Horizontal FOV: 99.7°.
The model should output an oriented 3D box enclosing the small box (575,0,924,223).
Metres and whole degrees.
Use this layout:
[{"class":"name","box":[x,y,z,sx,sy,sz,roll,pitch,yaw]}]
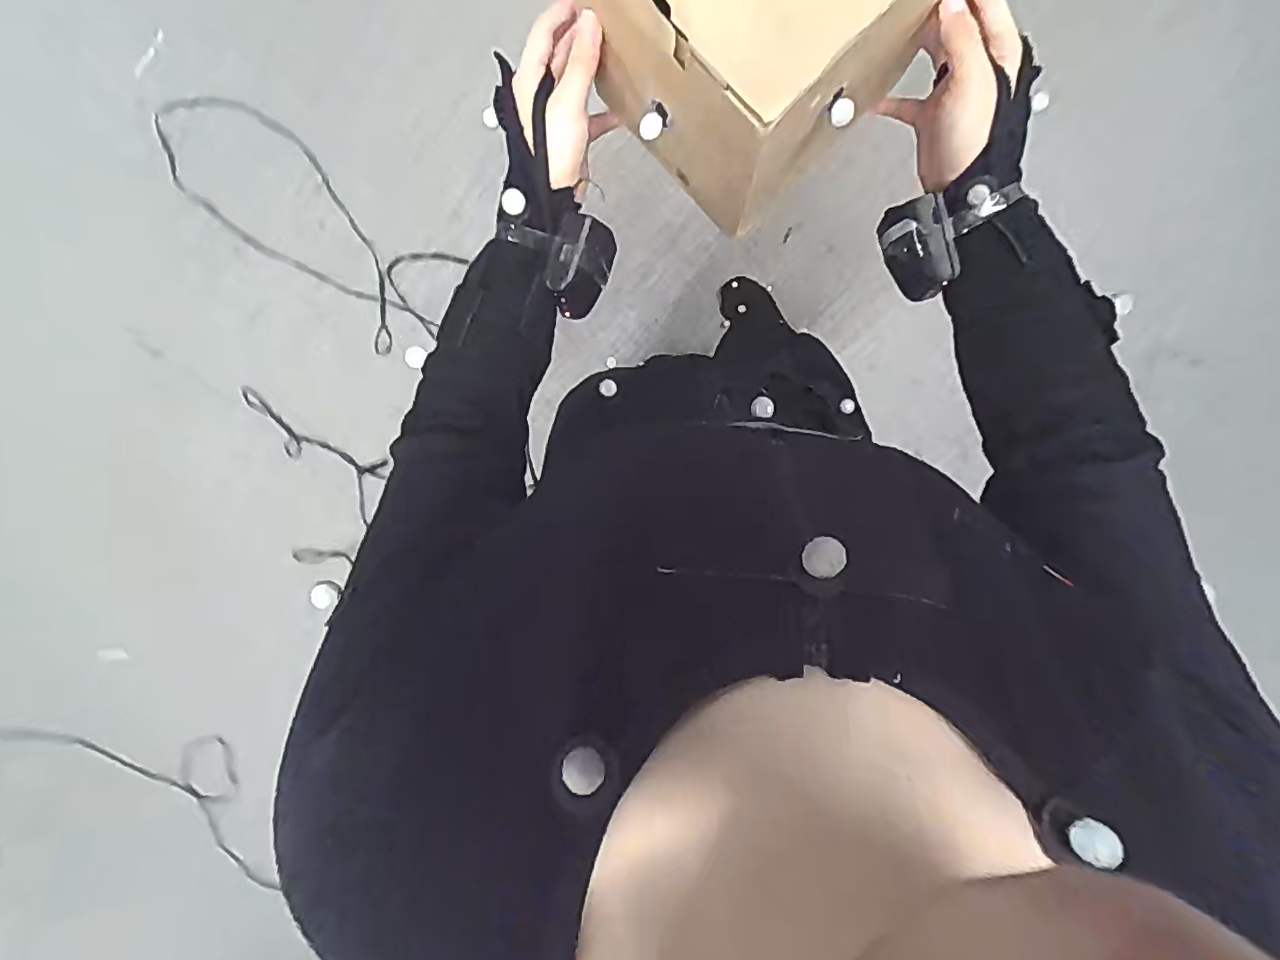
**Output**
[{"class":"small box","box":[0.072,-0.309,0.352,0.179,0.176,0.168,-44,91,8]}]
